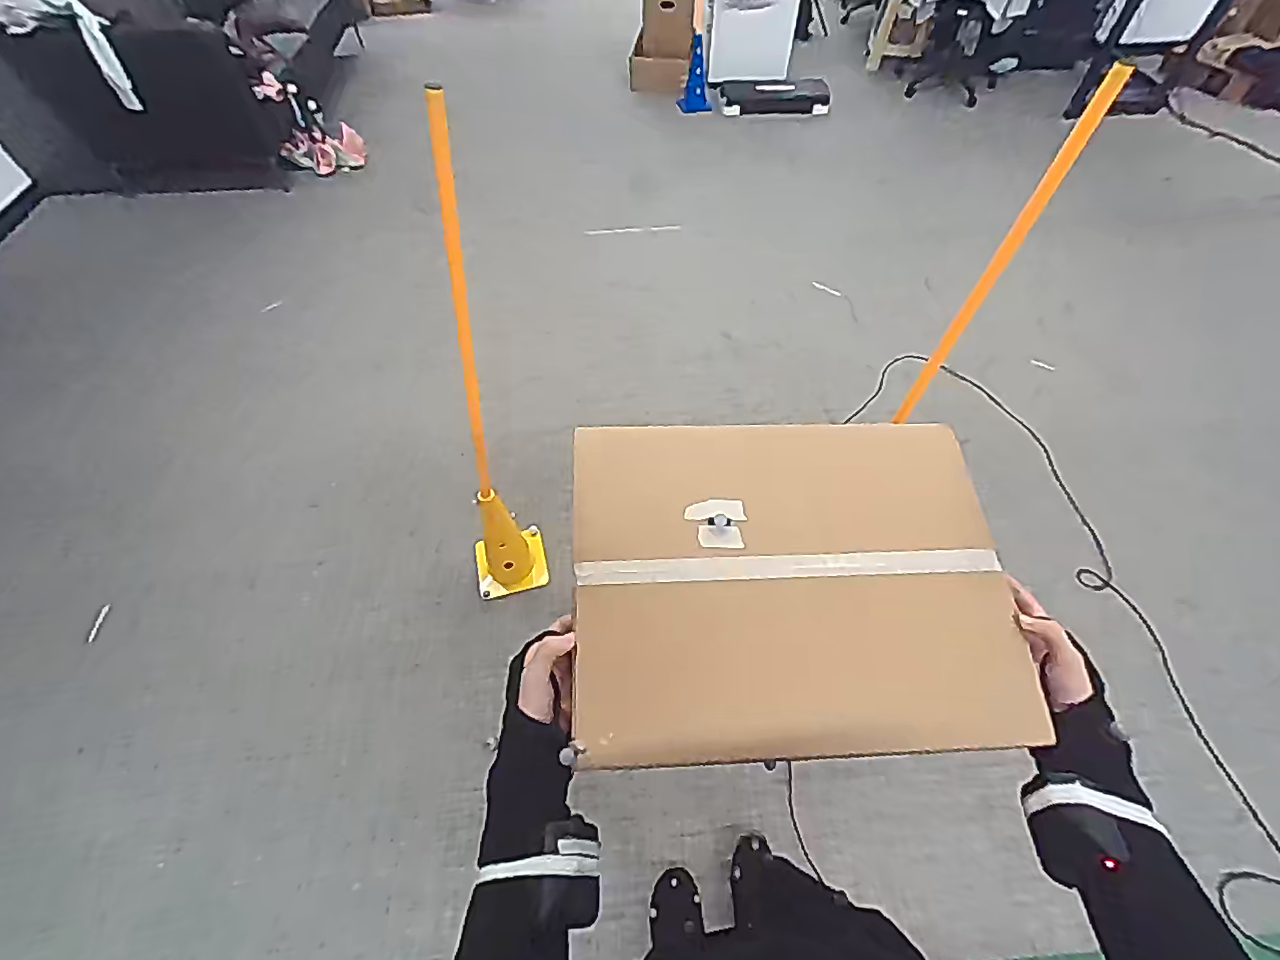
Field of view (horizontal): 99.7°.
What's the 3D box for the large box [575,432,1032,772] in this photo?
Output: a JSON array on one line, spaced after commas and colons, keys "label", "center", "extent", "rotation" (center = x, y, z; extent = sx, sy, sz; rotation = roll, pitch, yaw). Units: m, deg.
[{"label": "large box", "center": [0.134, 0.155, 0.653], "extent": [0.408, 0.320, 0.320], "rotation": [-1, 65, -3]}]
